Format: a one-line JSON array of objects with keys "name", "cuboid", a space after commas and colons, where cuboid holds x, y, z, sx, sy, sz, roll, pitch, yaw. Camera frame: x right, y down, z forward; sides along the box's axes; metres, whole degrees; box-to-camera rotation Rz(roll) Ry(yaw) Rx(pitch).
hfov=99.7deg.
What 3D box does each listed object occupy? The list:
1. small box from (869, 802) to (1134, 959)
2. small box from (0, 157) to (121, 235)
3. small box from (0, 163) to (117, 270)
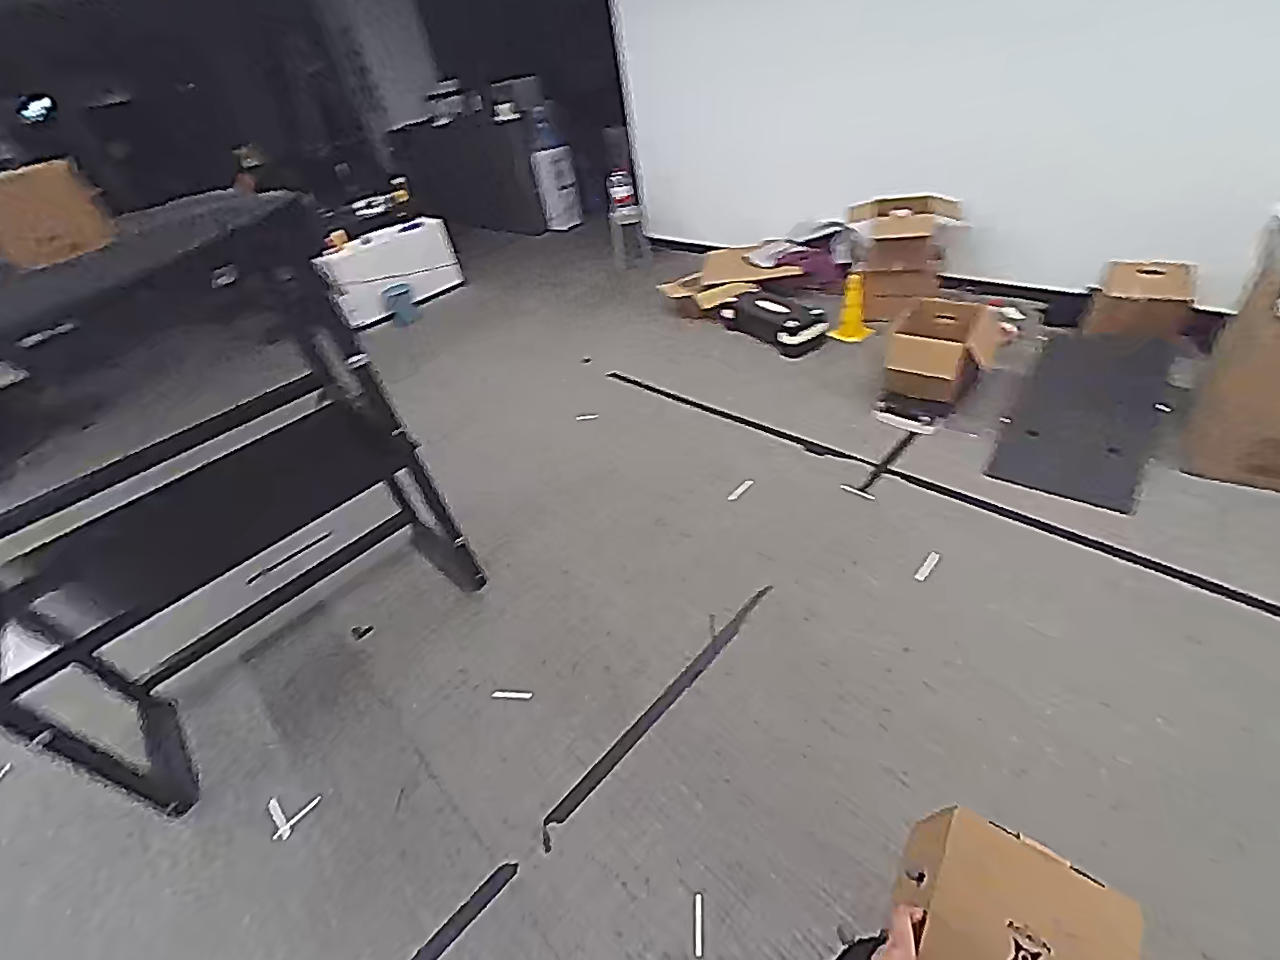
[{"name": "small box", "cuboid": [0.355, 0.475, 0.555, 0.168, 0.176, 0.179, 23, 58, 24]}, {"name": "small box", "cuboid": [-1.419, -0.670, 1.318, 0.179, 0.176, 0.168, -36, 45, -27]}, {"name": "small box", "cuboid": [-1.298, -0.568, 1.166, 0.179, 0.176, 0.168, 20, 50, 32]}]
